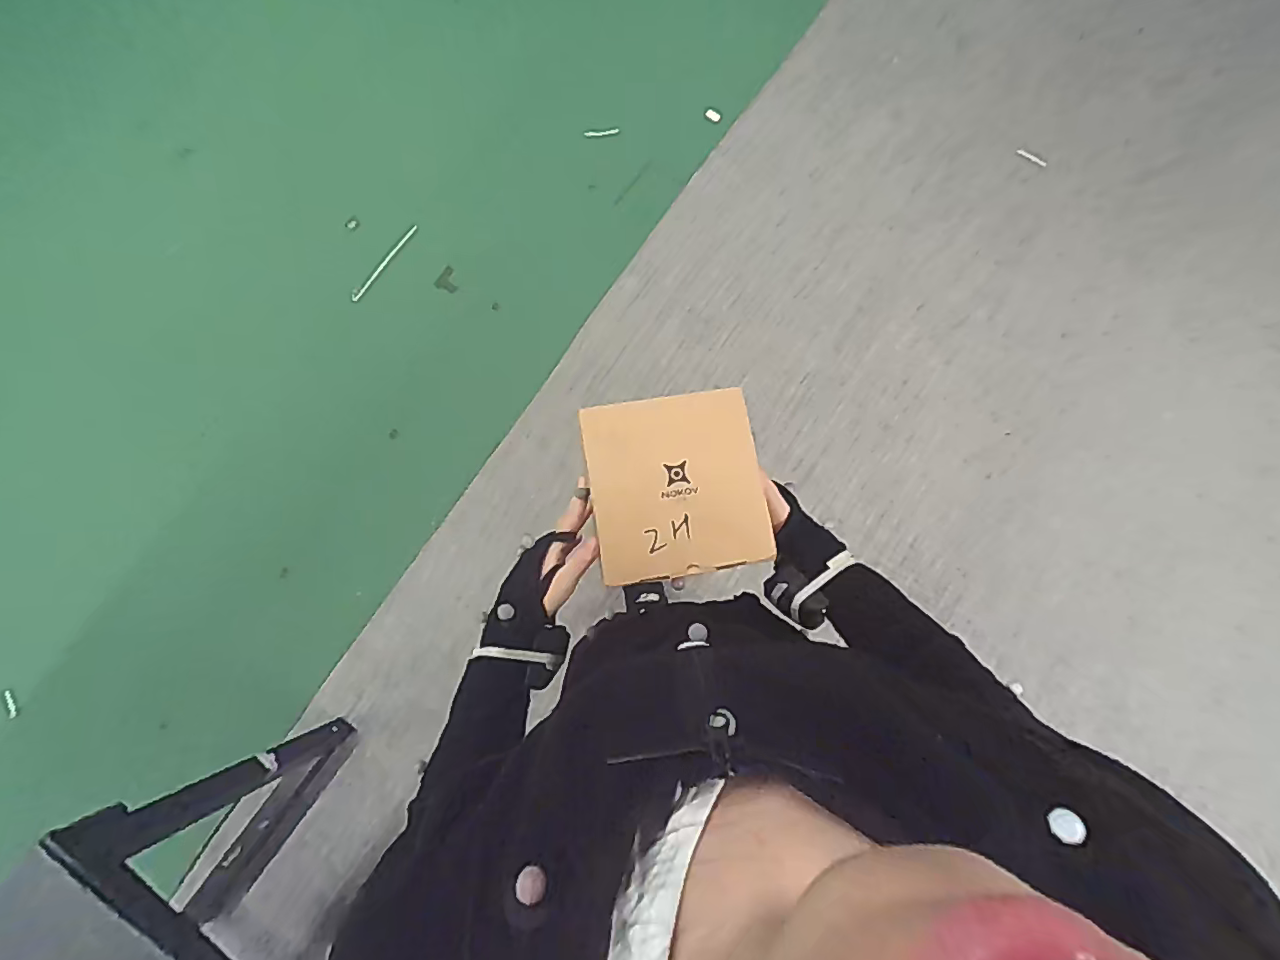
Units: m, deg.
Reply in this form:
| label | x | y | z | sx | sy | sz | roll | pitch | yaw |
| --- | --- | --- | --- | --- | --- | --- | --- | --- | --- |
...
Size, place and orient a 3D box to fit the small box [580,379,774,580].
| label | x | y | z | sx | sy | sz | roll | pitch | yaw |
| --- | --- | --- | --- | --- | --- | --- | --- | --- | --- |
| small box | 0.026 | 0.009 | 0.588 | 0.168 | 0.176 | 0.179 | -8 | 80 | -6 |
